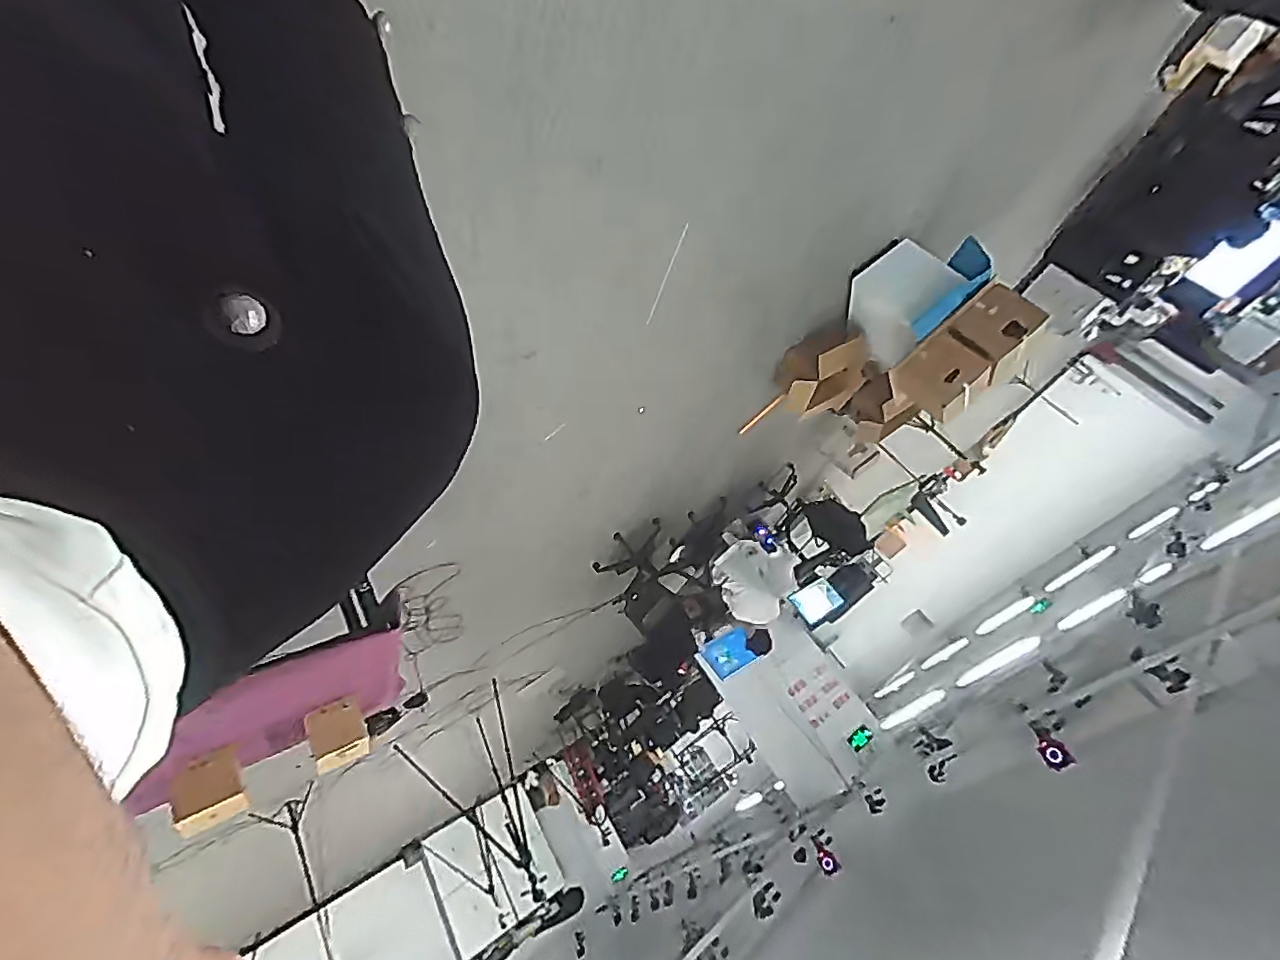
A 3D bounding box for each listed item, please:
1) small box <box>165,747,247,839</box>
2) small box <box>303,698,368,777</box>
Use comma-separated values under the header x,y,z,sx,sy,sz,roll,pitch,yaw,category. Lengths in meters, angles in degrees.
x,y,z,sx,sy,sz,roll,pitch,yaw,category
-1.342,0.964,1.676,0.168,0.176,0.179,-15,146,-39,small box
-1.068,0.894,1.896,0.168,0.176,0.179,-15,147,-37,small box
